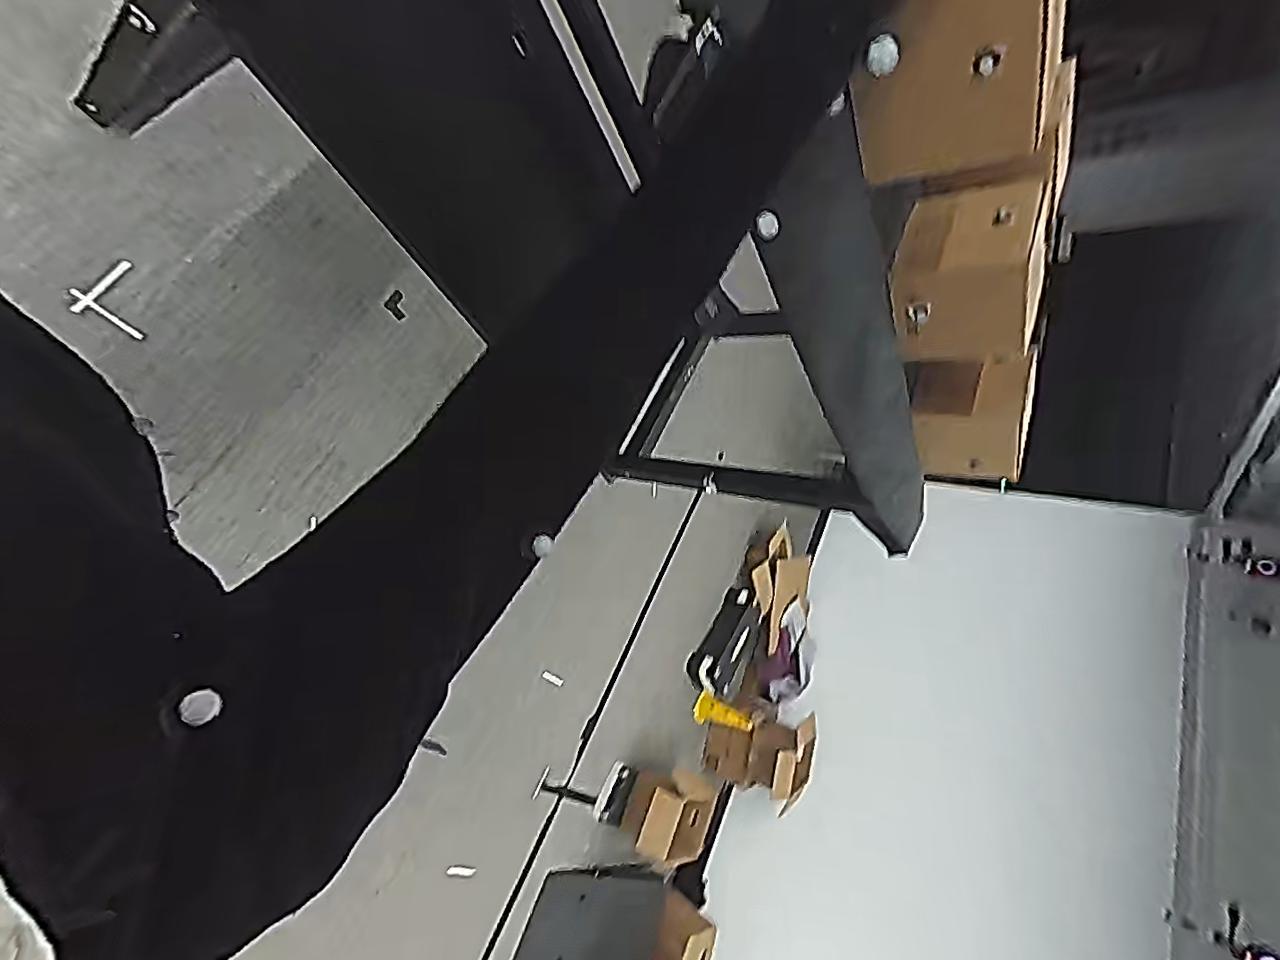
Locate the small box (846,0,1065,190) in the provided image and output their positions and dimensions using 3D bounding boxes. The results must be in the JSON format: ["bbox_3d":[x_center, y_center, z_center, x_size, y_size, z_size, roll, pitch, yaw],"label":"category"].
[{"bbox_3d":[0.325,-0.438,0.559,0.168,0.176,0.179,-61,139,-24],"label":"small box"}]

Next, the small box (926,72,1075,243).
[{"bbox_3d":[0.568,-0.495,0.863,0.179,0.176,0.168,52,57,-45],"label":"small box"}]

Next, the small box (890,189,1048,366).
[{"bbox_3d":[0.476,-0.285,0.788,0.168,0.176,0.179,53,56,-43],"label":"small box"}]
